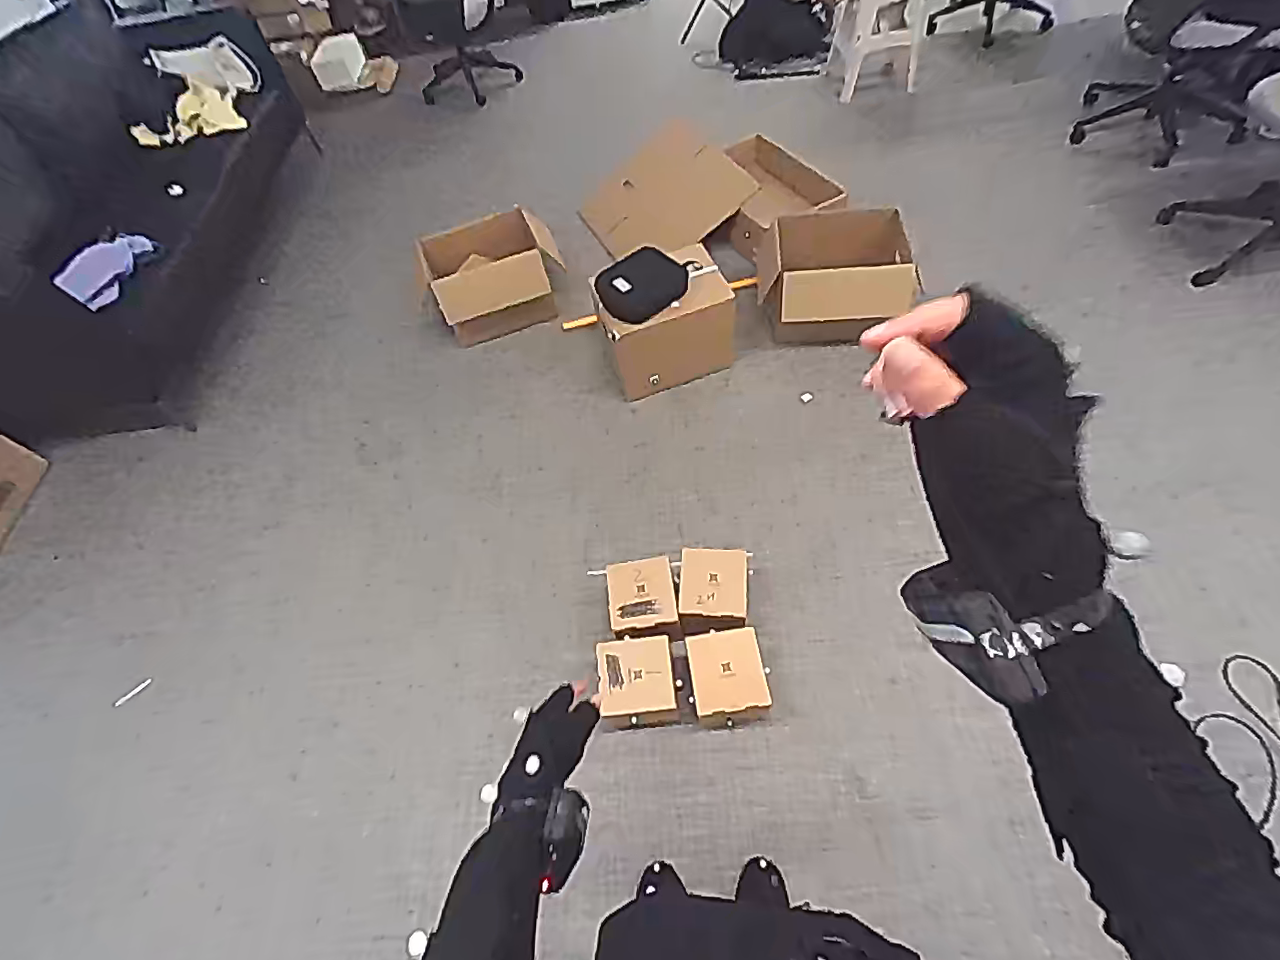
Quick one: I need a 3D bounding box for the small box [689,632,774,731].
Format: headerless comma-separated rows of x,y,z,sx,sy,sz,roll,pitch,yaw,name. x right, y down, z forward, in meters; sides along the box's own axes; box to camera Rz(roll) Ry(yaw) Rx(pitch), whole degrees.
0.212,0.482,1.288,0.168,0.176,0.179,-10,57,2,small box
